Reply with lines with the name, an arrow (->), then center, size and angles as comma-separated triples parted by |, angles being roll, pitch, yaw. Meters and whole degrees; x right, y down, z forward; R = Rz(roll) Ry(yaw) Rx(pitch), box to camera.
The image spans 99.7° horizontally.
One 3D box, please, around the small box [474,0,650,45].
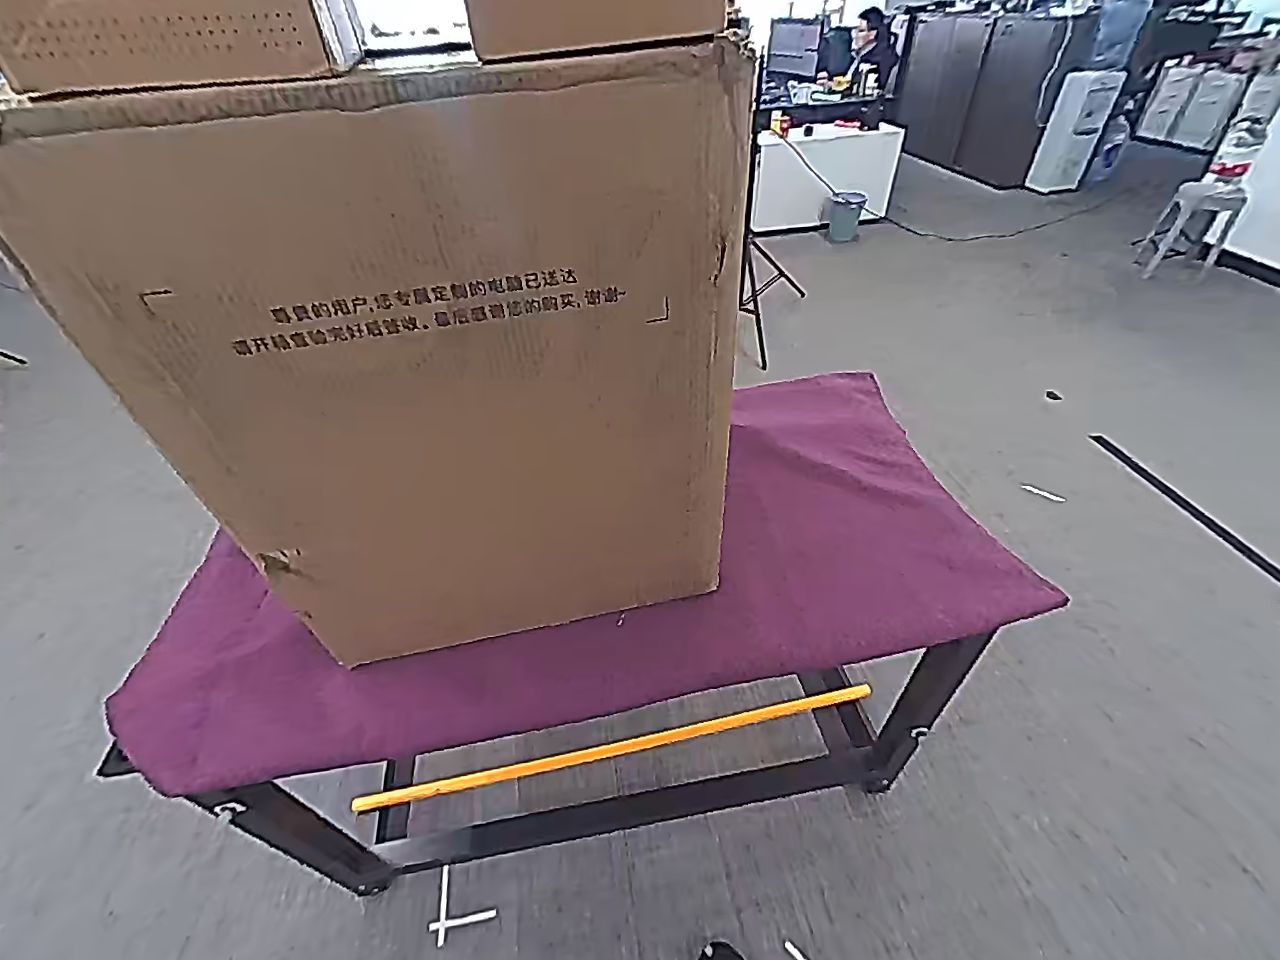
small box -> -0.086, -0.532, 0.520 | 0.168, 0.176, 0.179 | -9, 42, -4
